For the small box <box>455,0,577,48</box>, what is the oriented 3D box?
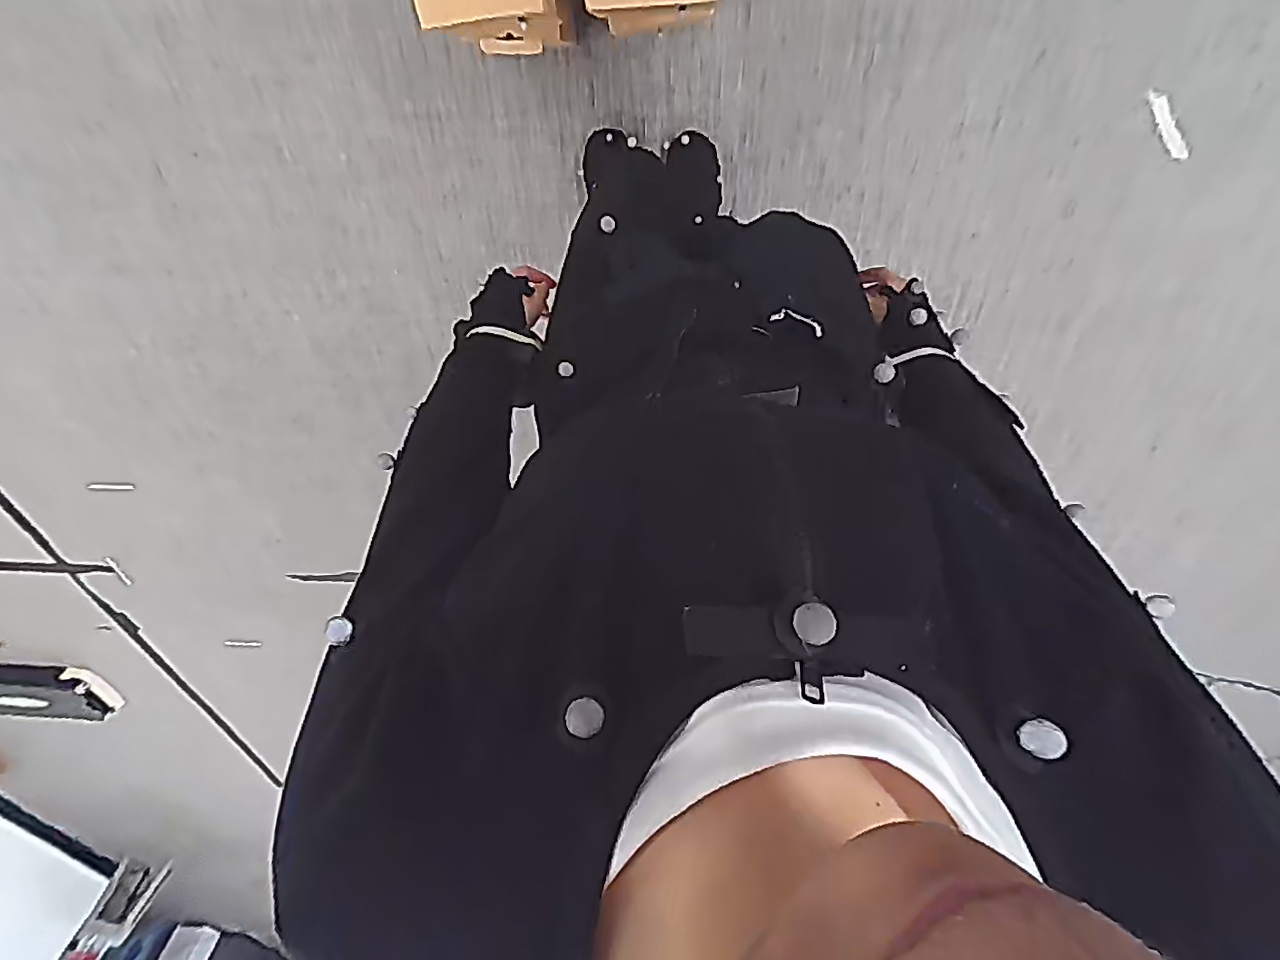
[{"bbox_3d":[-0.199,-0.816,0.878,0.168,0.176,0.179,2,126,2],"label":"small box"}]
